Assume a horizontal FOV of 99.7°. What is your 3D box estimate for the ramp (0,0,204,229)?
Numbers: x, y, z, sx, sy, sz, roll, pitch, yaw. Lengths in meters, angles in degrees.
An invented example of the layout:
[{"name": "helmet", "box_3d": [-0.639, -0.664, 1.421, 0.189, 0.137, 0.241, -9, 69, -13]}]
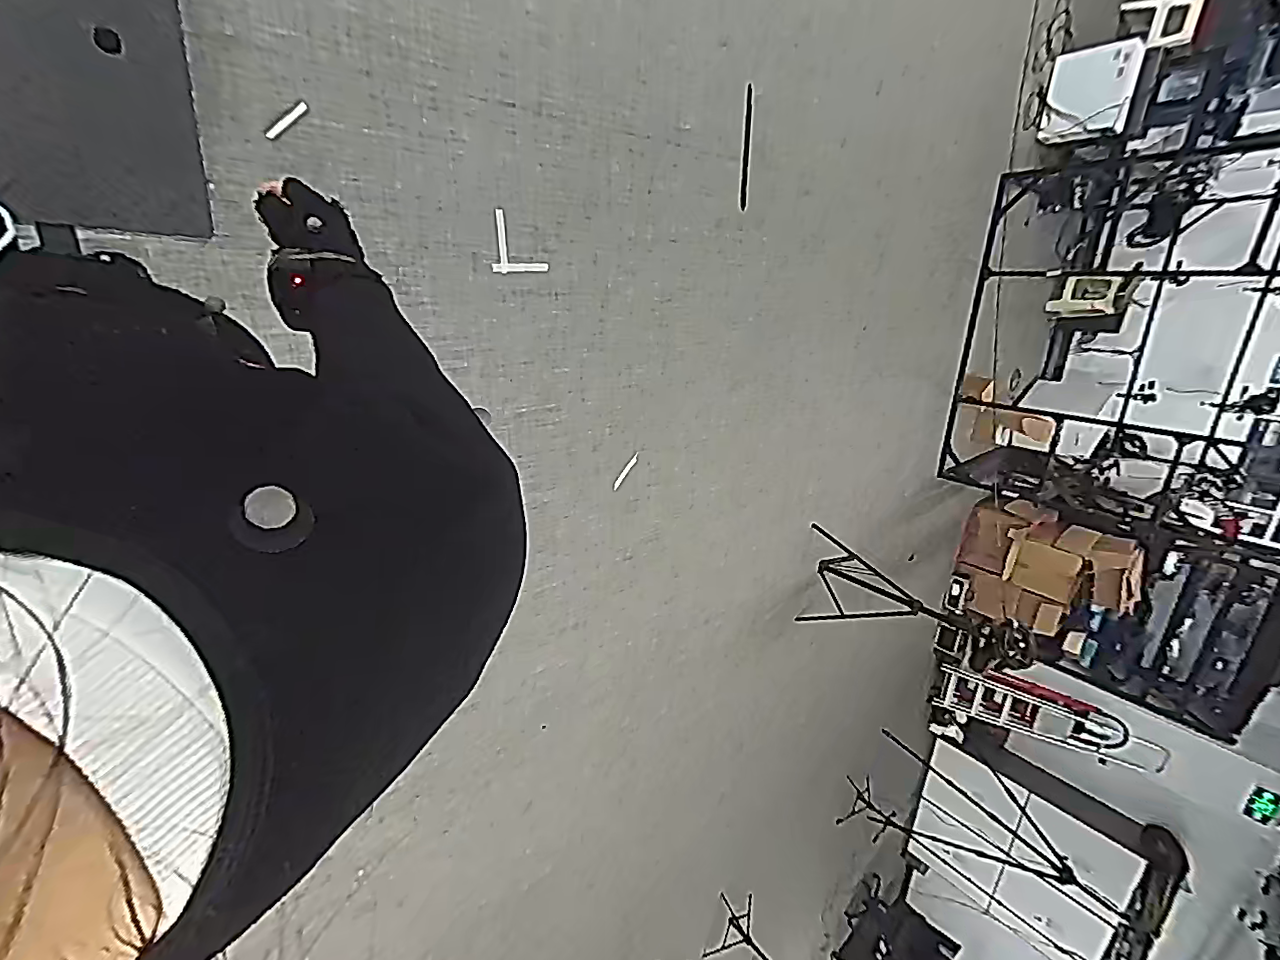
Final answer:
[{"name": "ramp", "box_3d": [-0.964, -0.897, 0.711, 0.509, 0.206, 0.991, -15, 116, -39]}]
